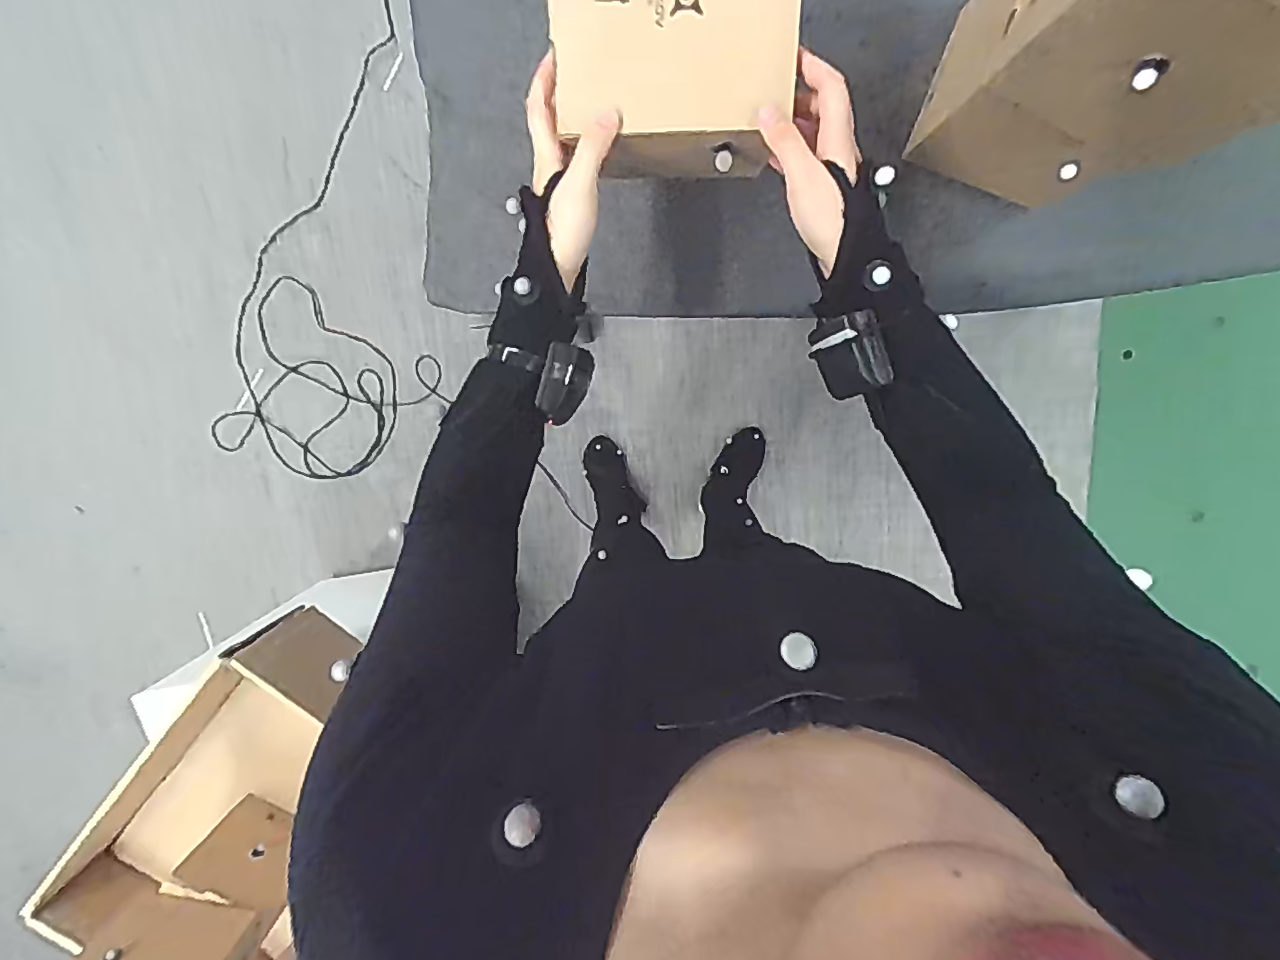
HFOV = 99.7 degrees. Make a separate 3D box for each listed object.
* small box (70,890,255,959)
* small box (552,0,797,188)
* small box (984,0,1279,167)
[{"bbox_3d":[-0.672,0.706,0.733,0.179,0.176,0.168,13,102,-3],"label":"small box"},{"bbox_3d":[0.027,-0.357,0.459,0.179,0.176,0.168,1,108,3],"label":"small box"},{"bbox_3d":[0.403,-0.358,0.383,0.179,0.176,0.168,27,100,-2],"label":"small box"}]
